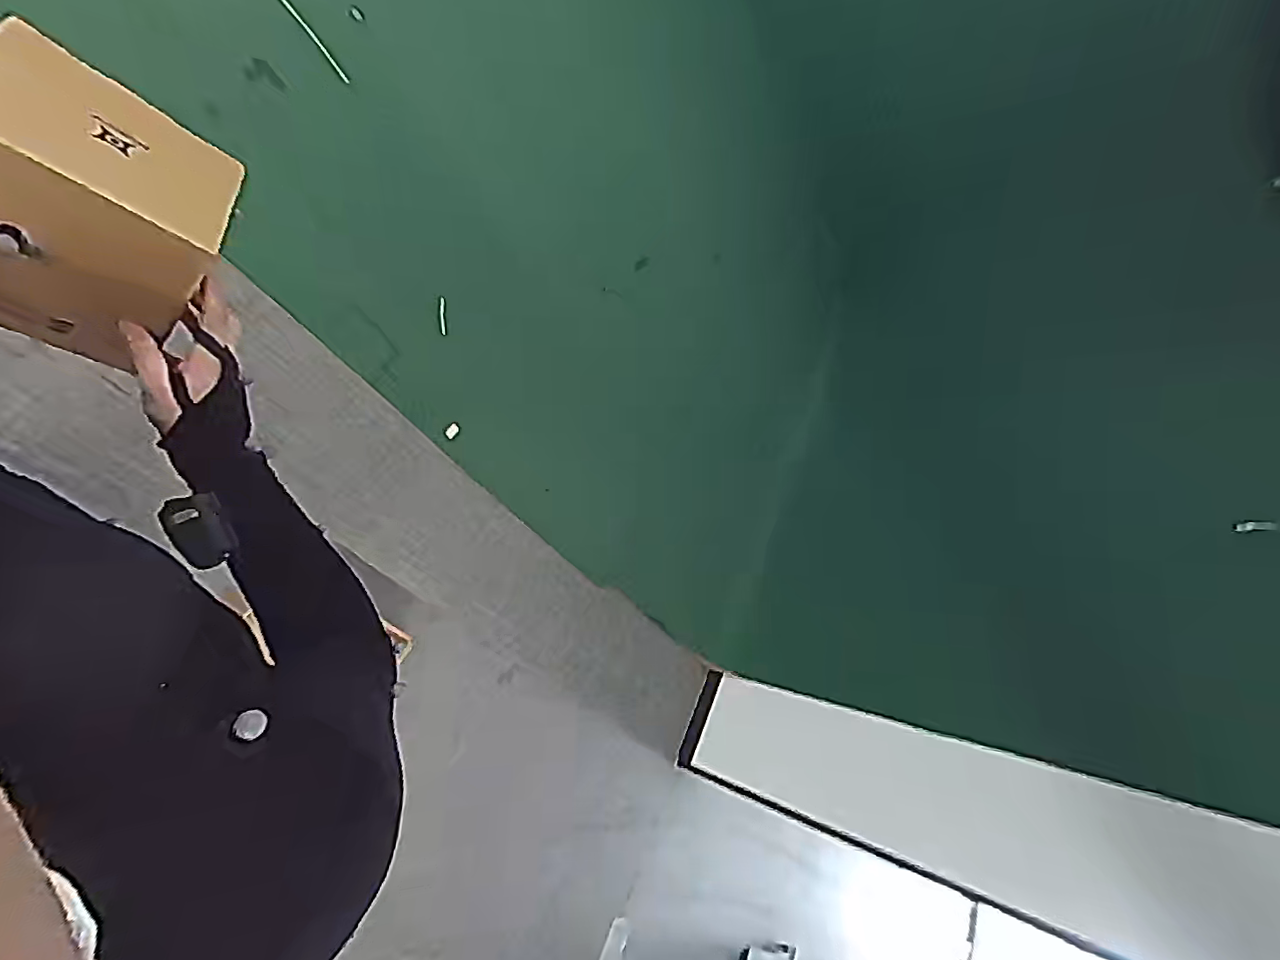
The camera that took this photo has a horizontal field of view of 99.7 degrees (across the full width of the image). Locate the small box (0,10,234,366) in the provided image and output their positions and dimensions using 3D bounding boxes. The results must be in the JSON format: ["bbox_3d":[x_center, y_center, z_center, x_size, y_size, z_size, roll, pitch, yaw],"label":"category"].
[{"bbox_3d":[-0.486,-0.231,0.459,0.168,0.176,0.179,27,33,-47],"label":"small box"}]
